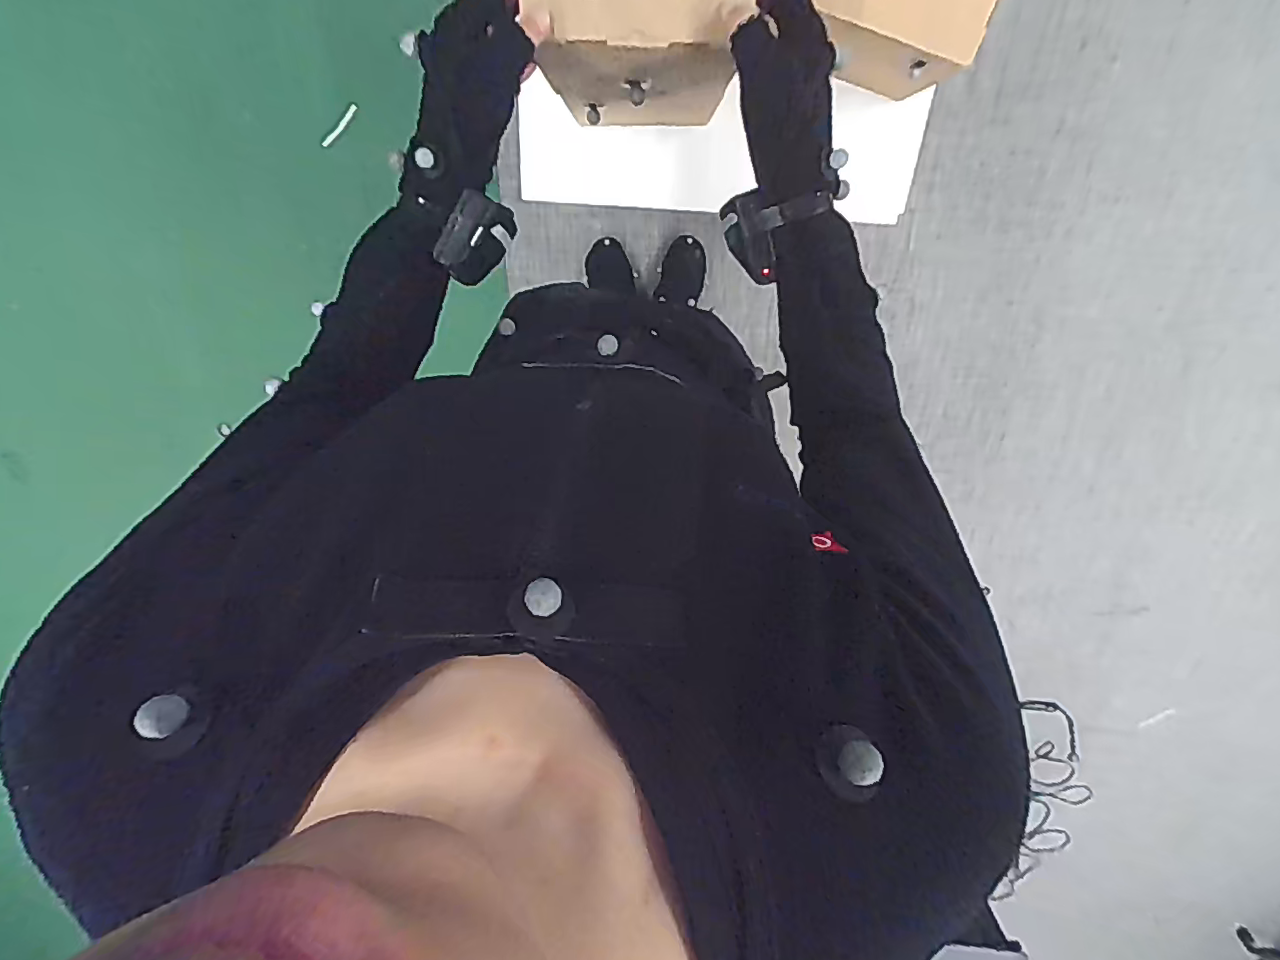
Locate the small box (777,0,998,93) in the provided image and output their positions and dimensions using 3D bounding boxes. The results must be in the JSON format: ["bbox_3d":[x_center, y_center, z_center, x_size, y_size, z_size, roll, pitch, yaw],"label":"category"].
[{"bbox_3d":[0.258,-0.526,0.551,0.179,0.176,0.168,14,115,-6],"label":"small box"}]

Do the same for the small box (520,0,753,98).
[{"bbox_3d":[-0.001,-0.424,0.421,0.168,0.176,0.179,1,115,0],"label":"small box"}]
